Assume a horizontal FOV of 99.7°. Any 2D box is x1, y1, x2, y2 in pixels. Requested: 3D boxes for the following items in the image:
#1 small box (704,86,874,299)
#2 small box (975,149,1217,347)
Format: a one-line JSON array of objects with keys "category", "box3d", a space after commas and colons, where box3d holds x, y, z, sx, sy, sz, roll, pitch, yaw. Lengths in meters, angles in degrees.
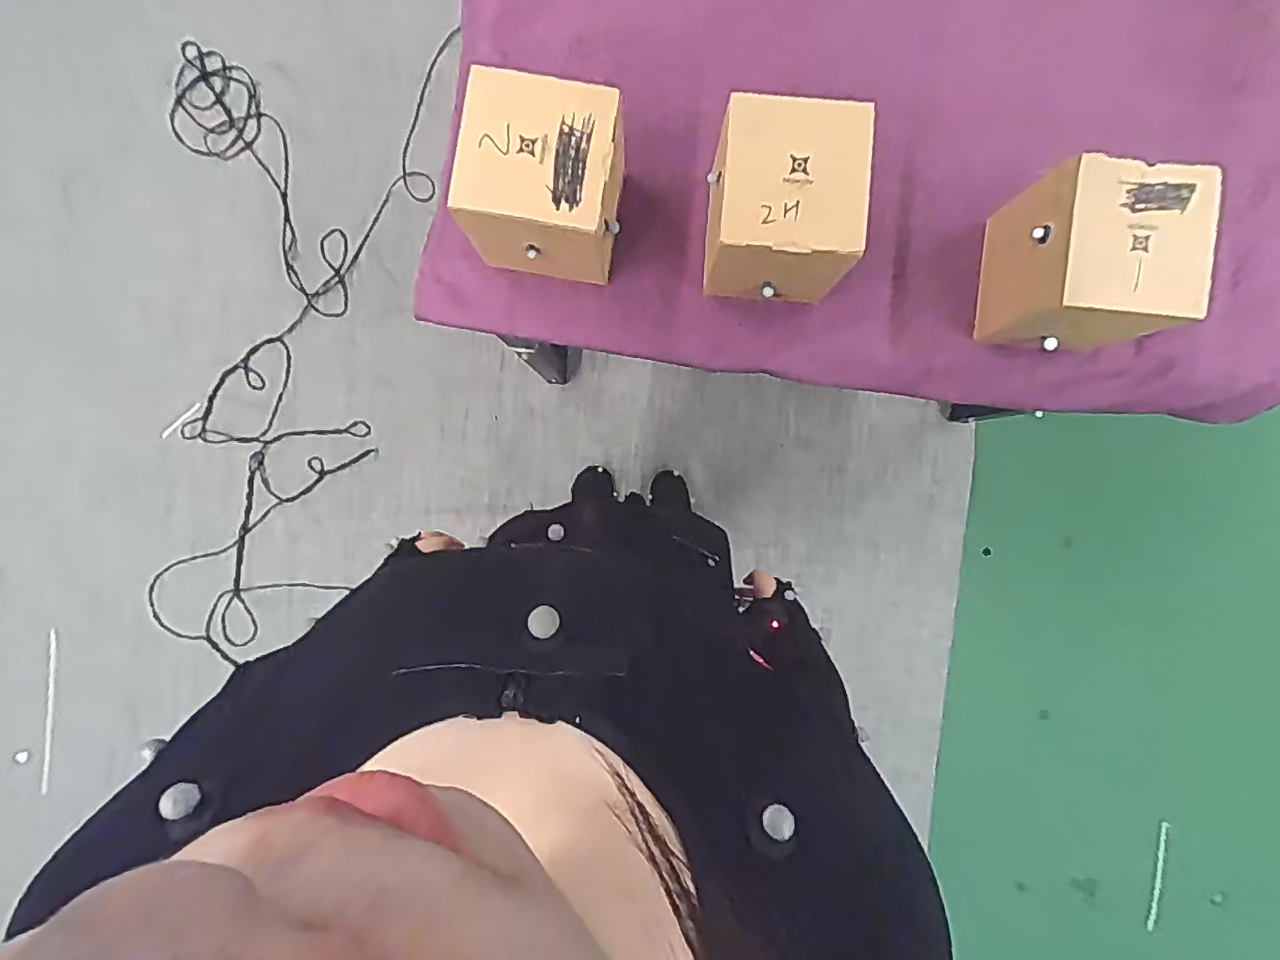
[{"category": "small box", "box3d": [0.177, -0.352, 0.689, 0.168, 0.176, 0.179, 4, 90, 0]}, {"category": "small box", "box3d": [0.566, -0.283, 0.695, 0.168, 0.176, 0.179, 6, 92, 0]}]
